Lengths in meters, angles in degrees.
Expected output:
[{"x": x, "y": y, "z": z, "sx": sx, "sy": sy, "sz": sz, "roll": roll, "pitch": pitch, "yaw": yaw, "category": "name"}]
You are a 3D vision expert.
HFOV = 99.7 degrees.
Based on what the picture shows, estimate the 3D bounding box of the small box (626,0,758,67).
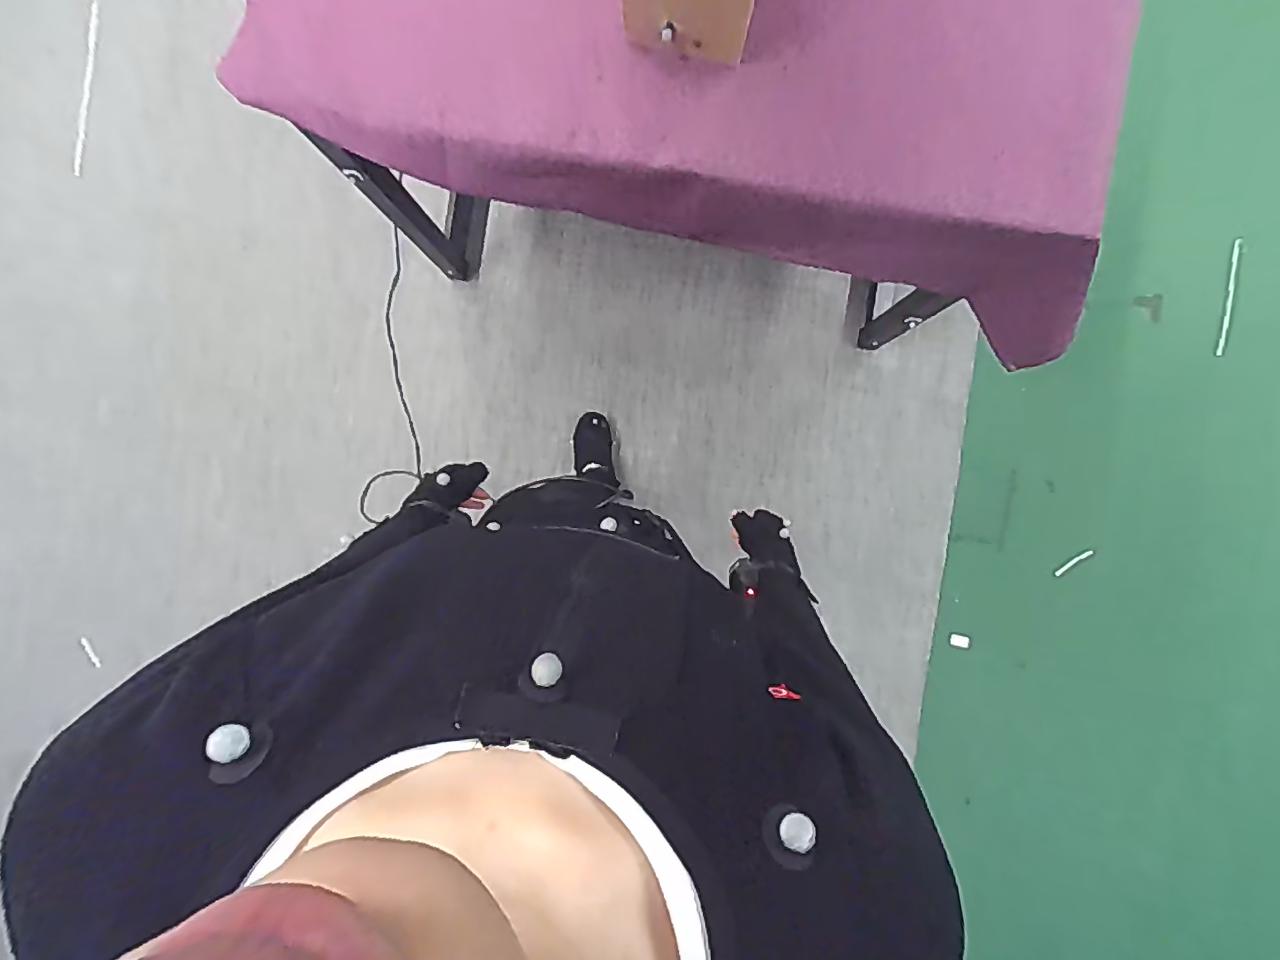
[{"x": 0.076, "y": -0.668, "z": 0.664, "sx": 0.168, "sy": 0.176, "sz": 0.179, "roll": 13, "pitch": 91, "yaw": 2, "category": "small box"}]
